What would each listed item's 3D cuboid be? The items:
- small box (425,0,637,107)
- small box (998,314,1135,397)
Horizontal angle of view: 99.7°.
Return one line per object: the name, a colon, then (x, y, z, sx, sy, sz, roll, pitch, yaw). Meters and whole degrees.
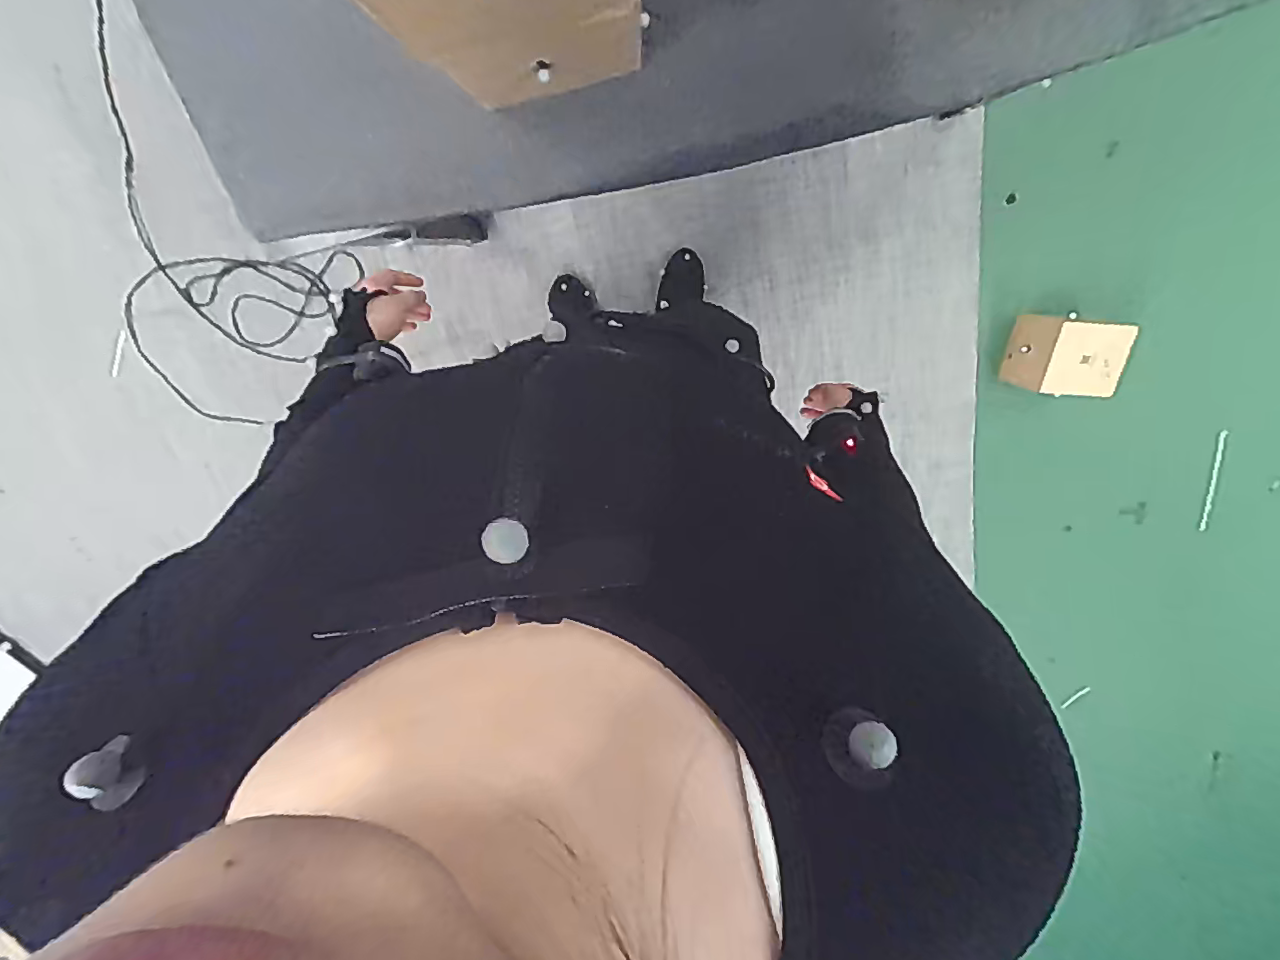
small box: (-0.102, -0.456, 0.472, 0.179, 0.176, 0.168, -10, 112, 6)
small box: (1.024, -0.308, 1.317, 0.179, 0.176, 0.168, 4, 115, -1)
